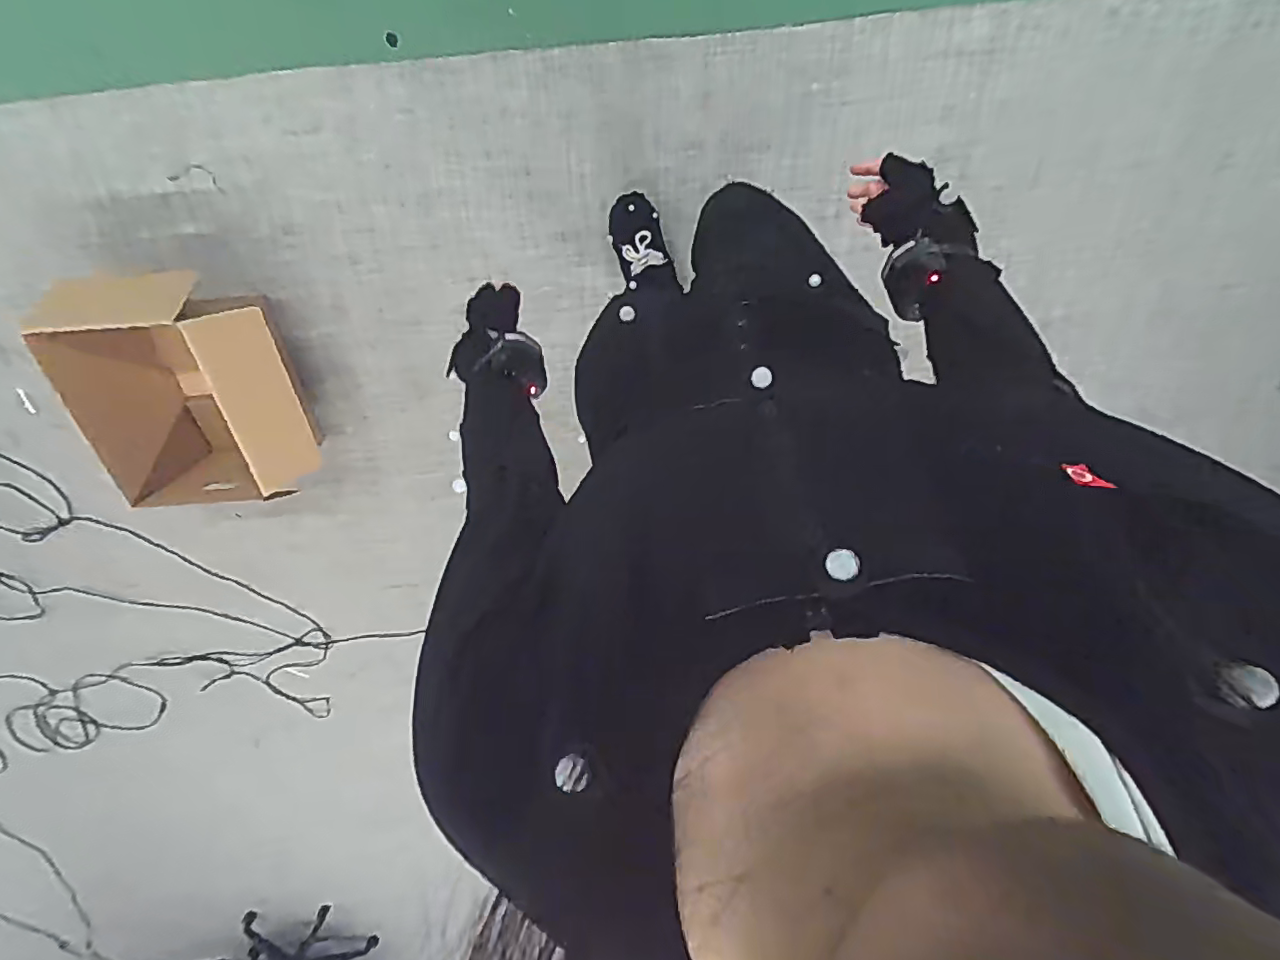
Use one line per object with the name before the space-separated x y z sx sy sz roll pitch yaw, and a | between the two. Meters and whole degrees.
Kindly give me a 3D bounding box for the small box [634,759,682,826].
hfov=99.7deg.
small box | 0.069 1.258 2.182 0.179 0.176 0.168 -7 118 0
